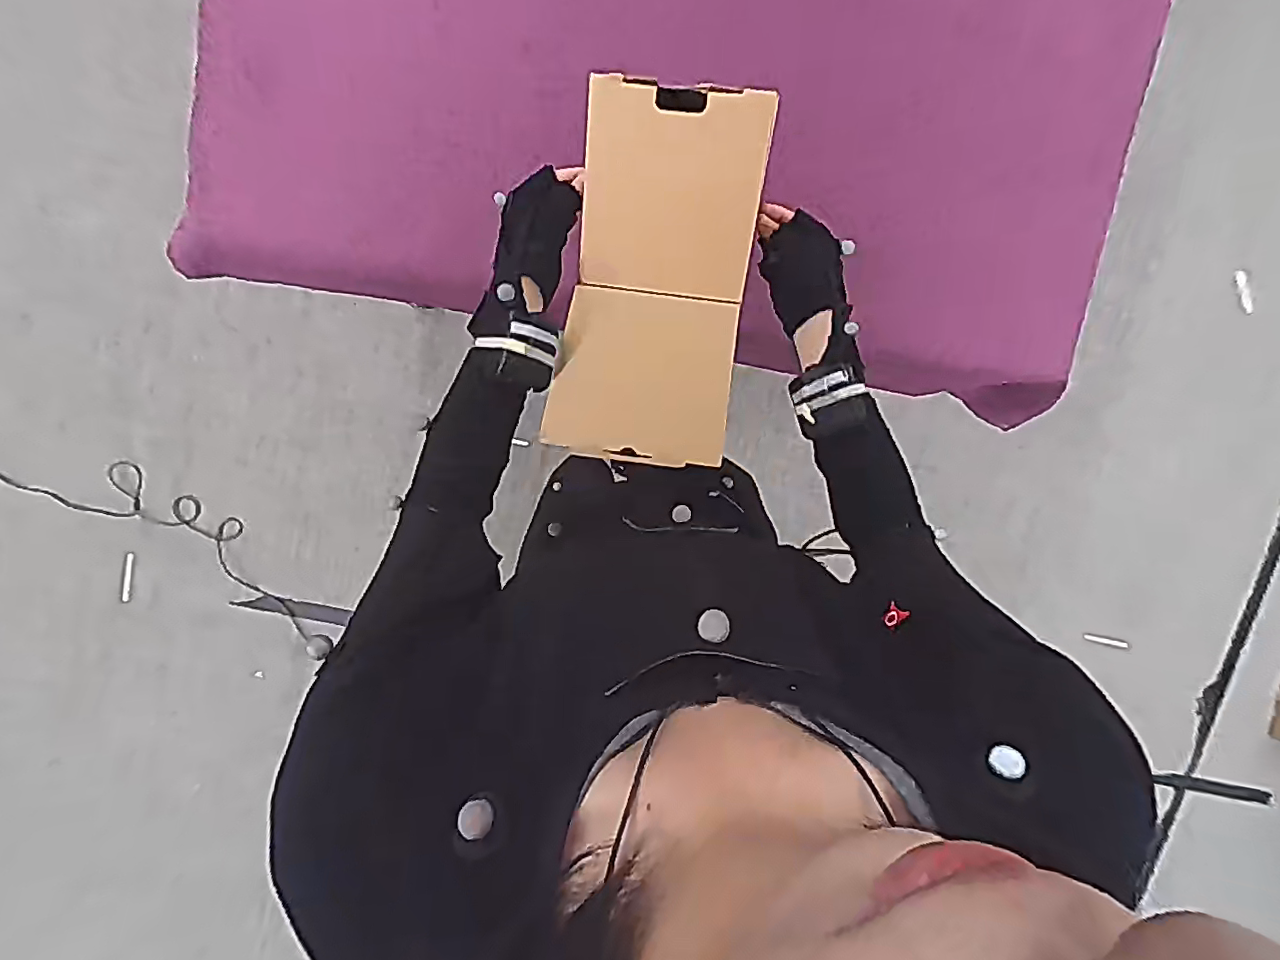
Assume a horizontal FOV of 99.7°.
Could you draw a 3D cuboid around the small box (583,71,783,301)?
[{"bbox_3d":[0.041,-0.295,0.569,0.168,0.176,0.179,8,115,4],"label":"small box"}]
